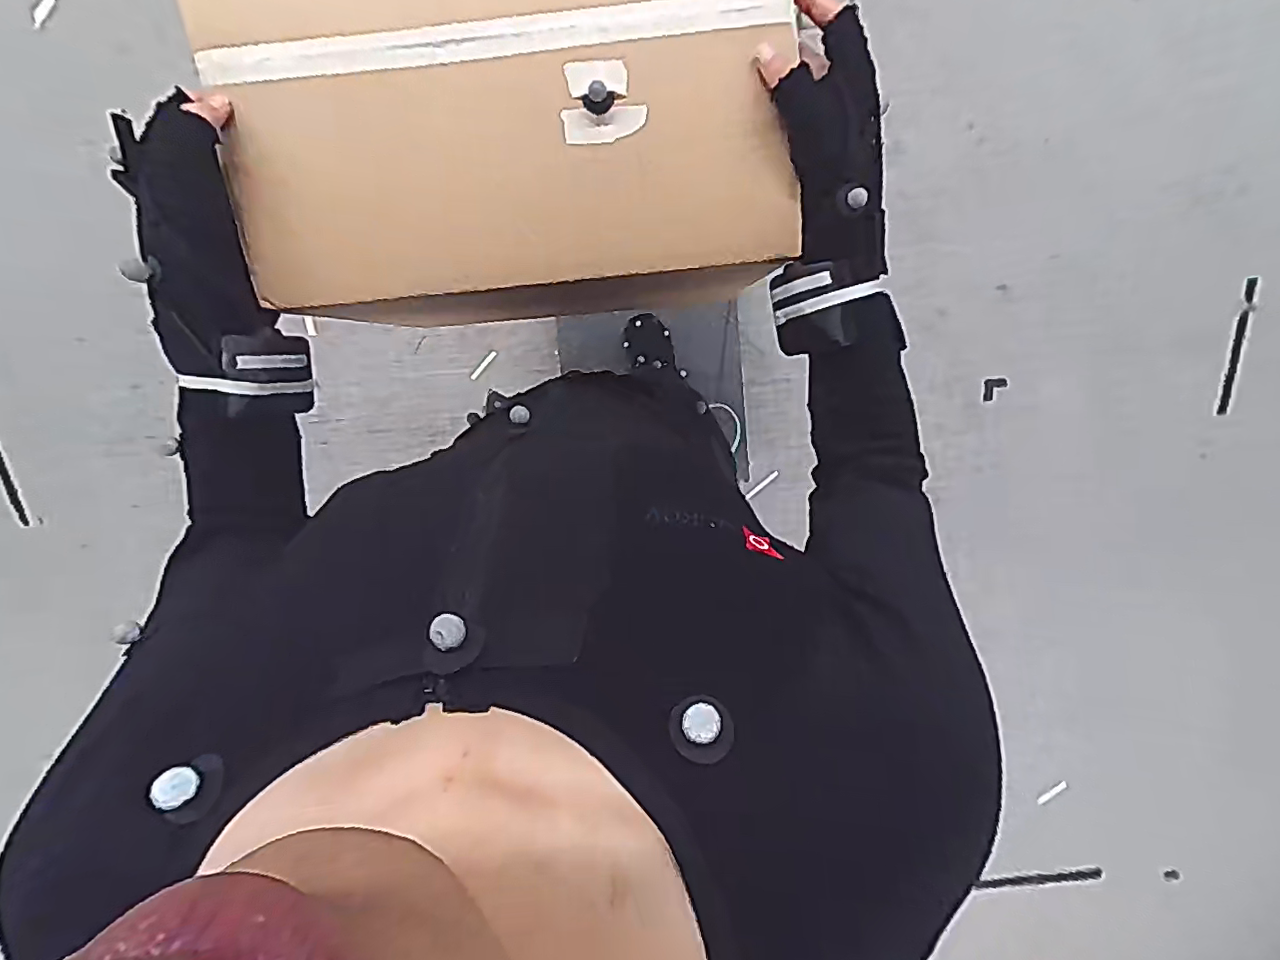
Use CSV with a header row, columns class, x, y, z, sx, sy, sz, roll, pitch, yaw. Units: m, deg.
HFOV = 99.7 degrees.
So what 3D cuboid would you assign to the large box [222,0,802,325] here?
class,x,y,z,sx,sy,sz,roll,pitch,yaw
large box,-0.092,-0.339,0.527,0.408,0.320,0.320,-5,103,0
